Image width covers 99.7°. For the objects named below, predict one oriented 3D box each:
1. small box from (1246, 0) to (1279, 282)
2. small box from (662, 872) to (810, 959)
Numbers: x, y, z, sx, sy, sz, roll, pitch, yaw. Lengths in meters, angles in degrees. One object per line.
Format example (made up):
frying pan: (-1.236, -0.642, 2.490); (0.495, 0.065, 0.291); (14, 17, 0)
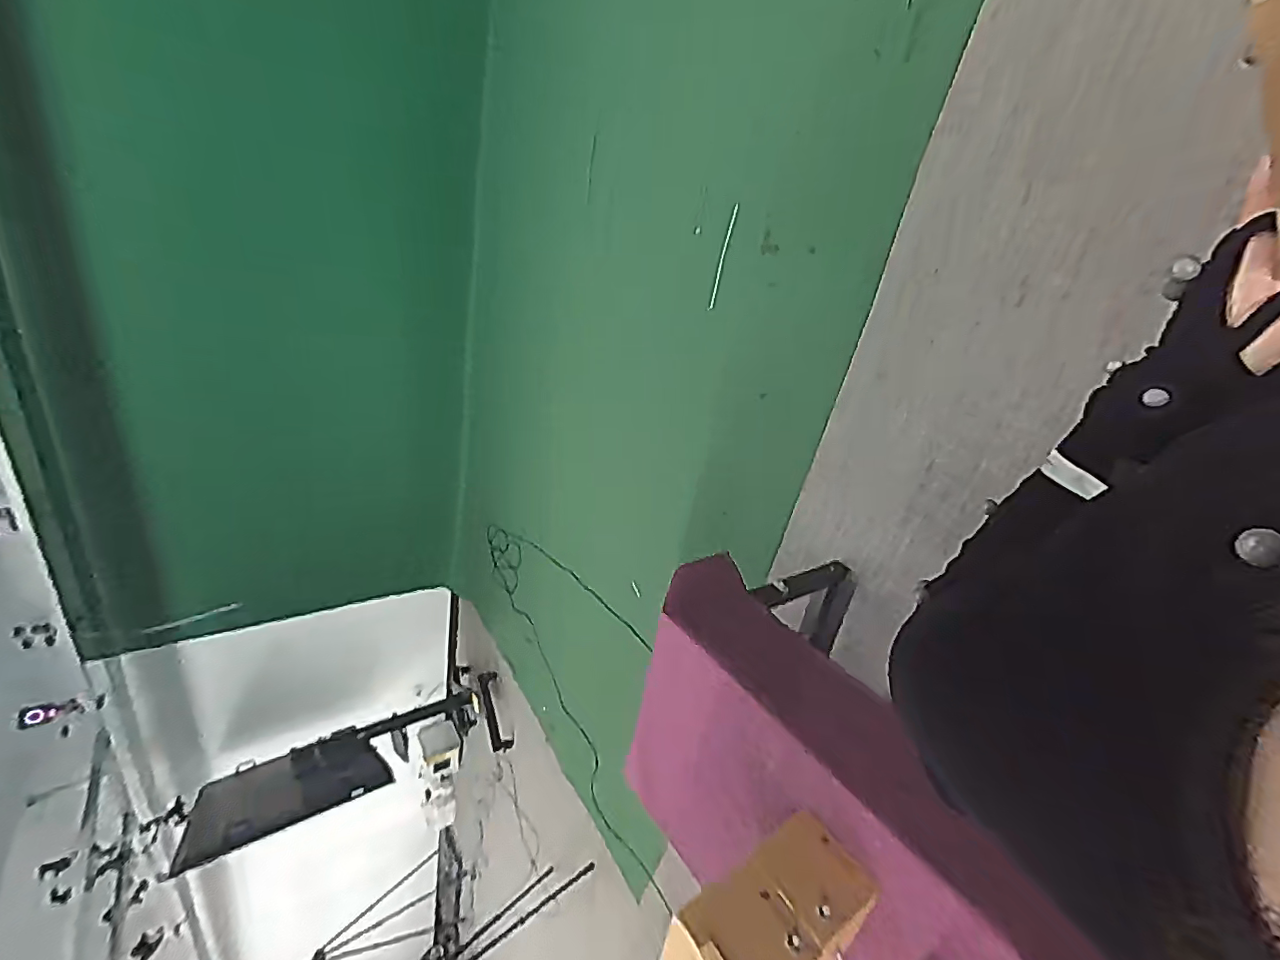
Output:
small box: (0.397, -0.223, 0.230); (0.168, 0.179, 0.176); (0, 56, 54)
small box: (0.152, 0.779, 0.855); (0.168, 0.176, 0.179); (36, 126, 45)
